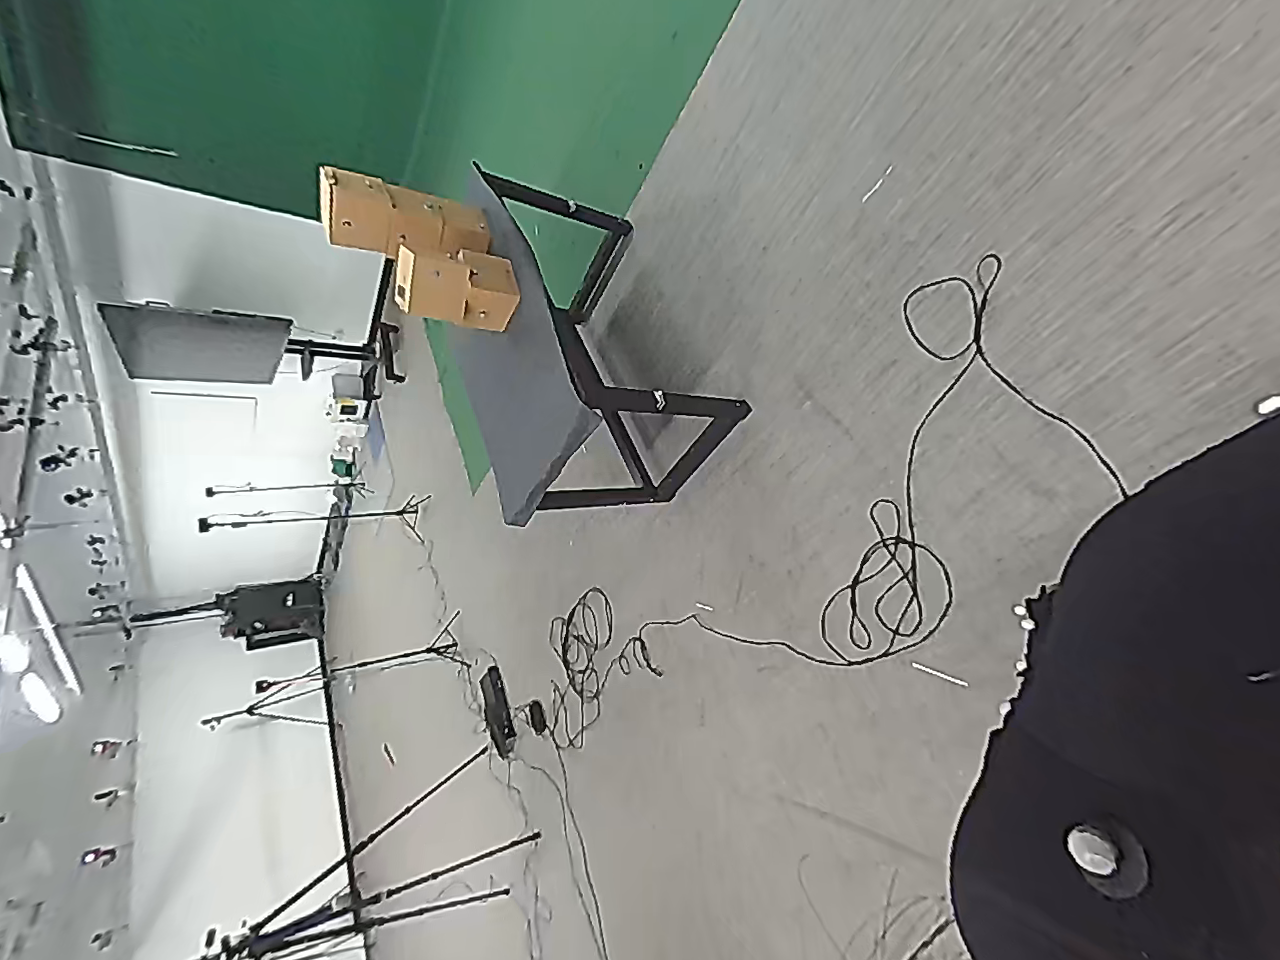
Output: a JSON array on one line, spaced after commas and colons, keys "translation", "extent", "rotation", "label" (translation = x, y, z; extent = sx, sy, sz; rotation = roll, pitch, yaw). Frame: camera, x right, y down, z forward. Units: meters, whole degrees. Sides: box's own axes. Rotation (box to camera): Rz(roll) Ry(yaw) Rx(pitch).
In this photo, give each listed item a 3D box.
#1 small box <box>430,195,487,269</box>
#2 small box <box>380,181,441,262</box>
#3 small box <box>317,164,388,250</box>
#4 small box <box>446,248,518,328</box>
[{"translation": [-0.660, -0.870, 1.924], "extent": [0.179, 0.176, 0.168], "rotation": [-53, 54, 42], "label": "small box"}, {"translation": [-0.785, -0.862, 1.821], "extent": [0.168, 0.176, 0.179], "rotation": [59, 134, 28], "label": "small box"}, {"translation": [-0.912, -0.858, 1.714], "extent": [0.168, 0.176, 0.179], "rotation": [56, 134, 30], "label": "small box"}, {"translation": [-0.517, -0.619, 1.765], "extent": [0.179, 0.176, 0.168], "rotation": [-42, 61, 46], "label": "small box"}]
